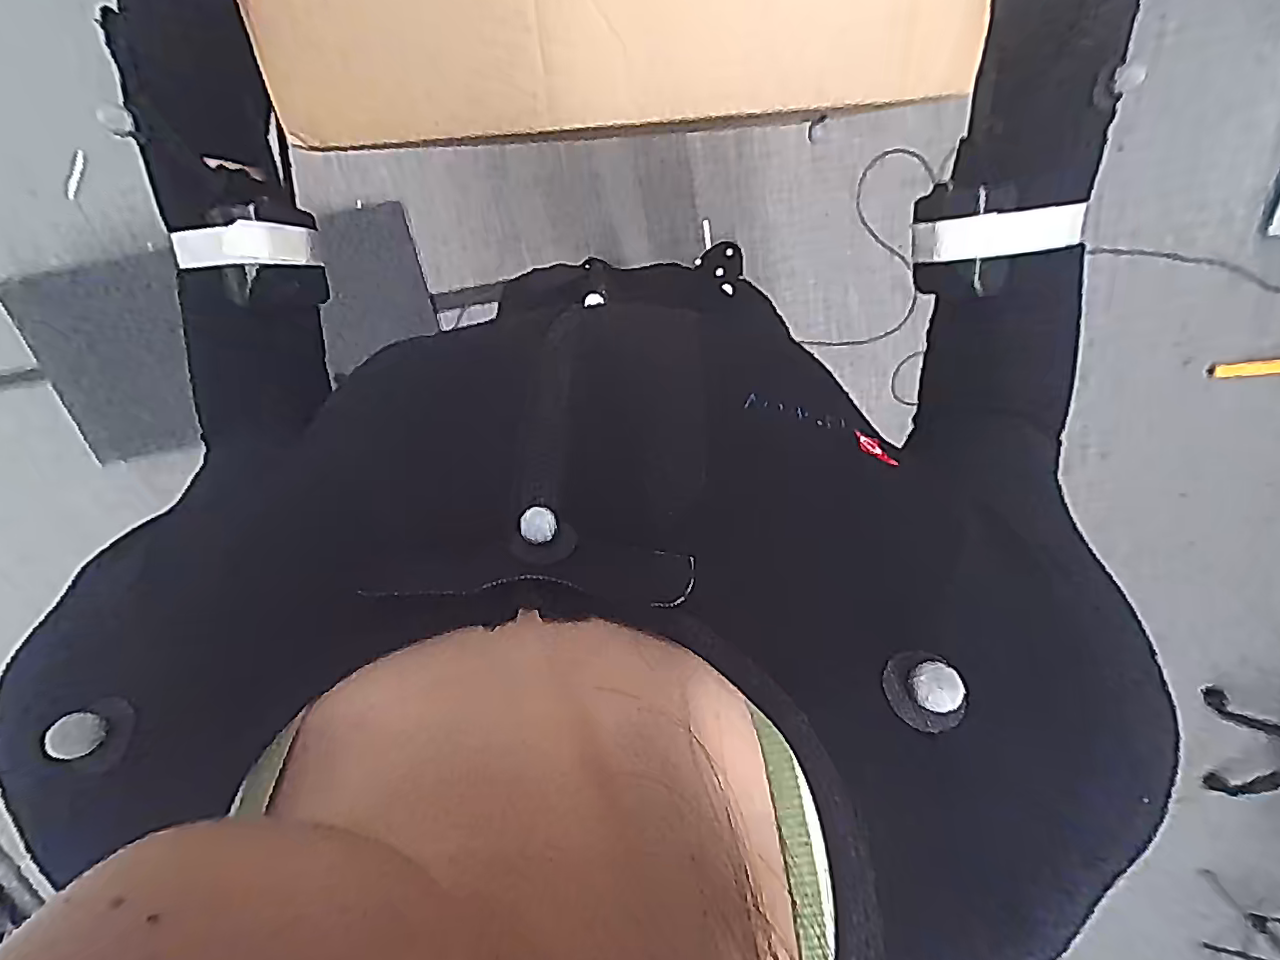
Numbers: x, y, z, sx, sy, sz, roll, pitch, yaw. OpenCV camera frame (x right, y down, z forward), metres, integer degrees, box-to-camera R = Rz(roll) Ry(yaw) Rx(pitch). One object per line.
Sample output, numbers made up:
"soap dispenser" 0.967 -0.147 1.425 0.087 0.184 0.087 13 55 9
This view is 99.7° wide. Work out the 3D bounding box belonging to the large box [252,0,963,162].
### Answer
"large box" -0.022 -0.427 0.377 0.408 0.320 0.320 -2 121 6
